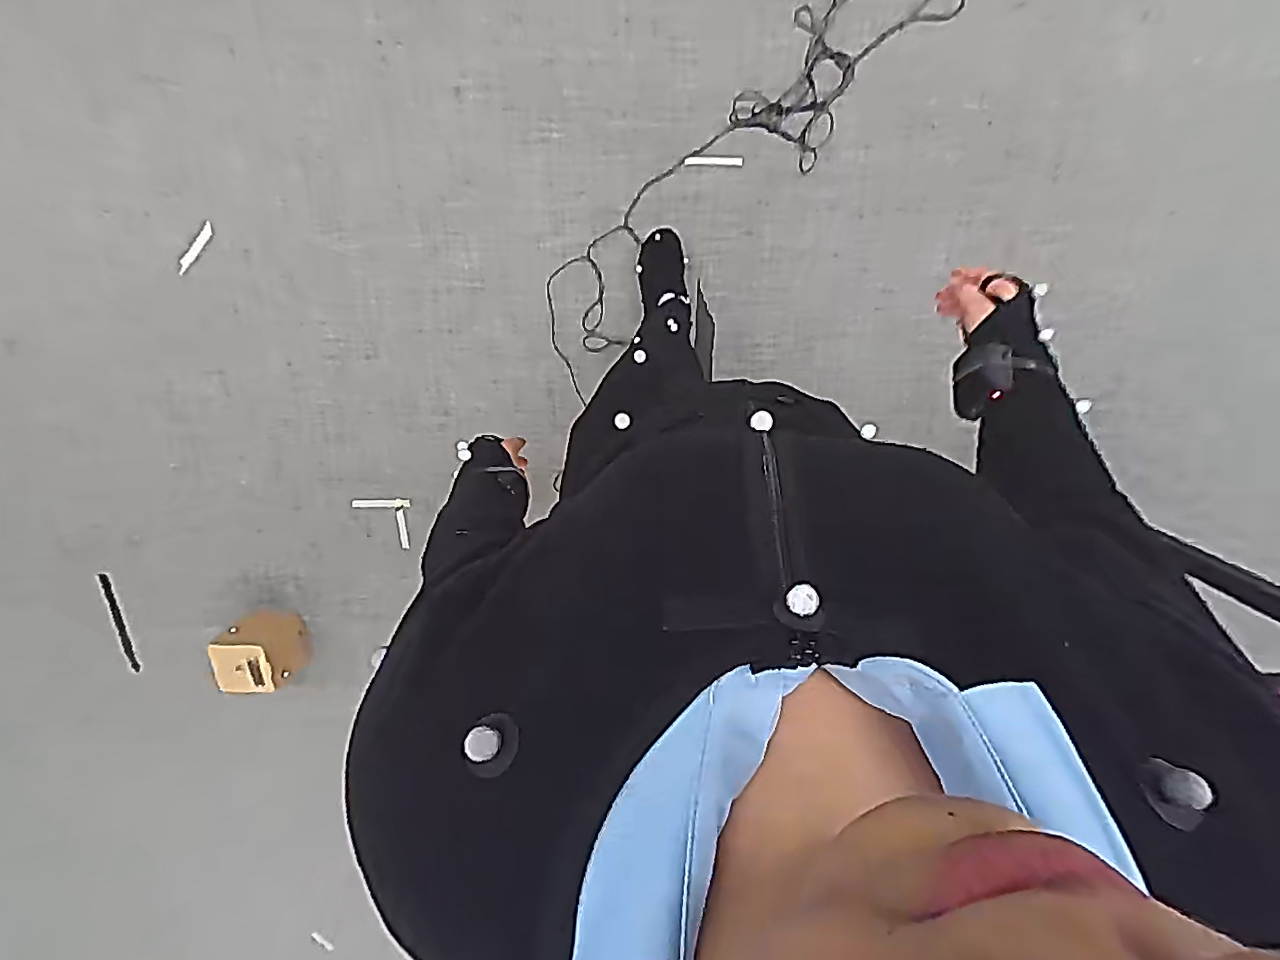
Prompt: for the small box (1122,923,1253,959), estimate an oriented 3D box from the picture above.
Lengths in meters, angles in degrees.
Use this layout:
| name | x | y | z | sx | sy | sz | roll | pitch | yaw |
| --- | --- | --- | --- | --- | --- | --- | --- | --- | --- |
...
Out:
| name | x | y | z | sx | sy | sz | roll | pitch | yaw |
| --- | --- | --- | --- | --- | --- | --- | --- | --- | --- |
| small box | 0.961 | 0.897 | 0.910 | 0.168 | 0.176 | 0.179 | 8 | 108 | 0 |
